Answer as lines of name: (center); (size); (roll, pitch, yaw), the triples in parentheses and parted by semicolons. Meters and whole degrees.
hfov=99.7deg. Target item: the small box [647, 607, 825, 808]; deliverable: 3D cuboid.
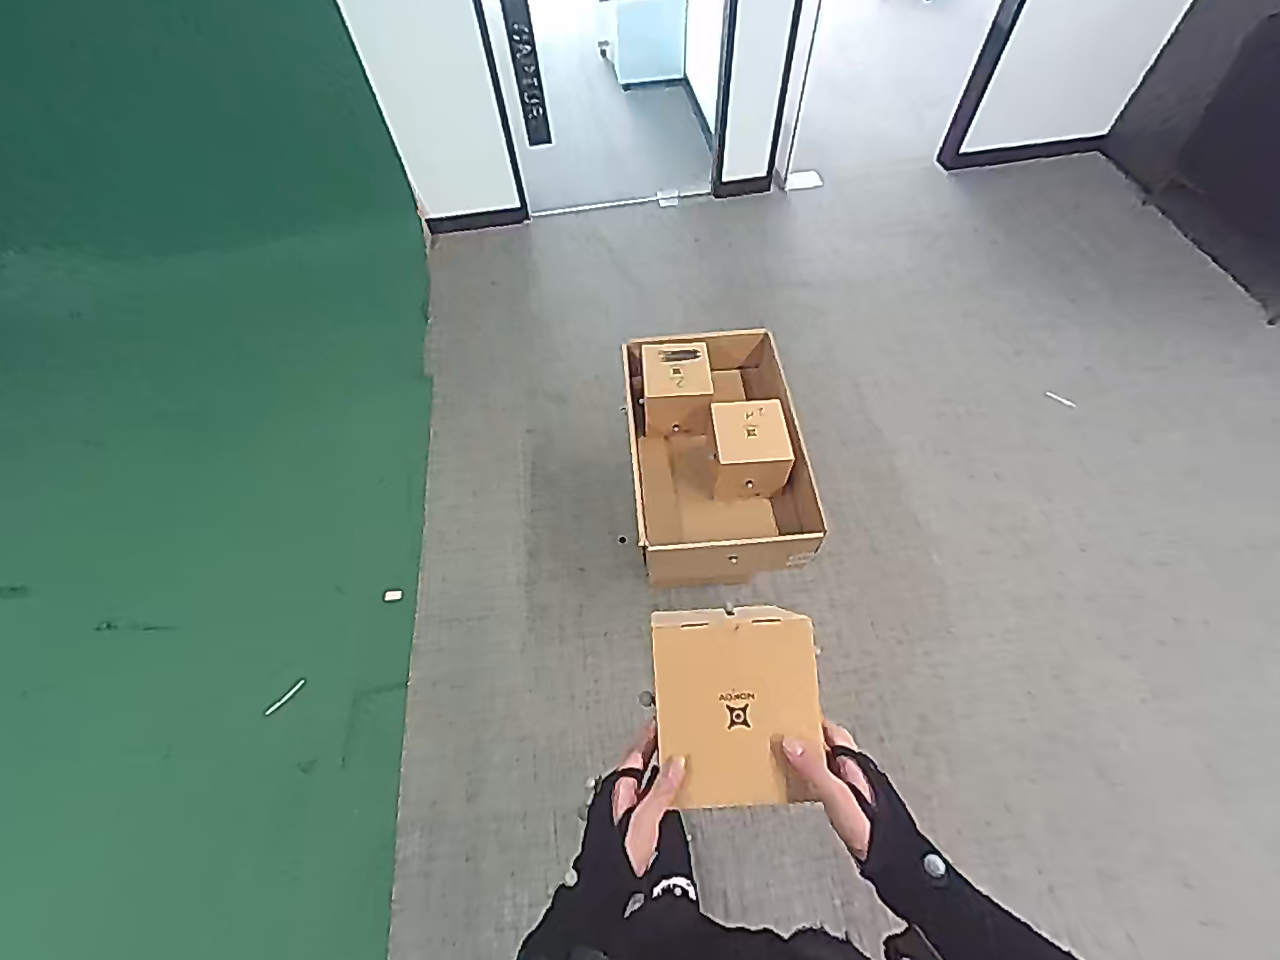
small box: (0.096, 0.241, 0.611); (0.168, 0.176, 0.179); (-3, 79, 1)

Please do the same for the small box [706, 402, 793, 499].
small box: (0.252, -0.063, 1.283); (0.168, 0.176, 0.179); (-2, 59, -1)
